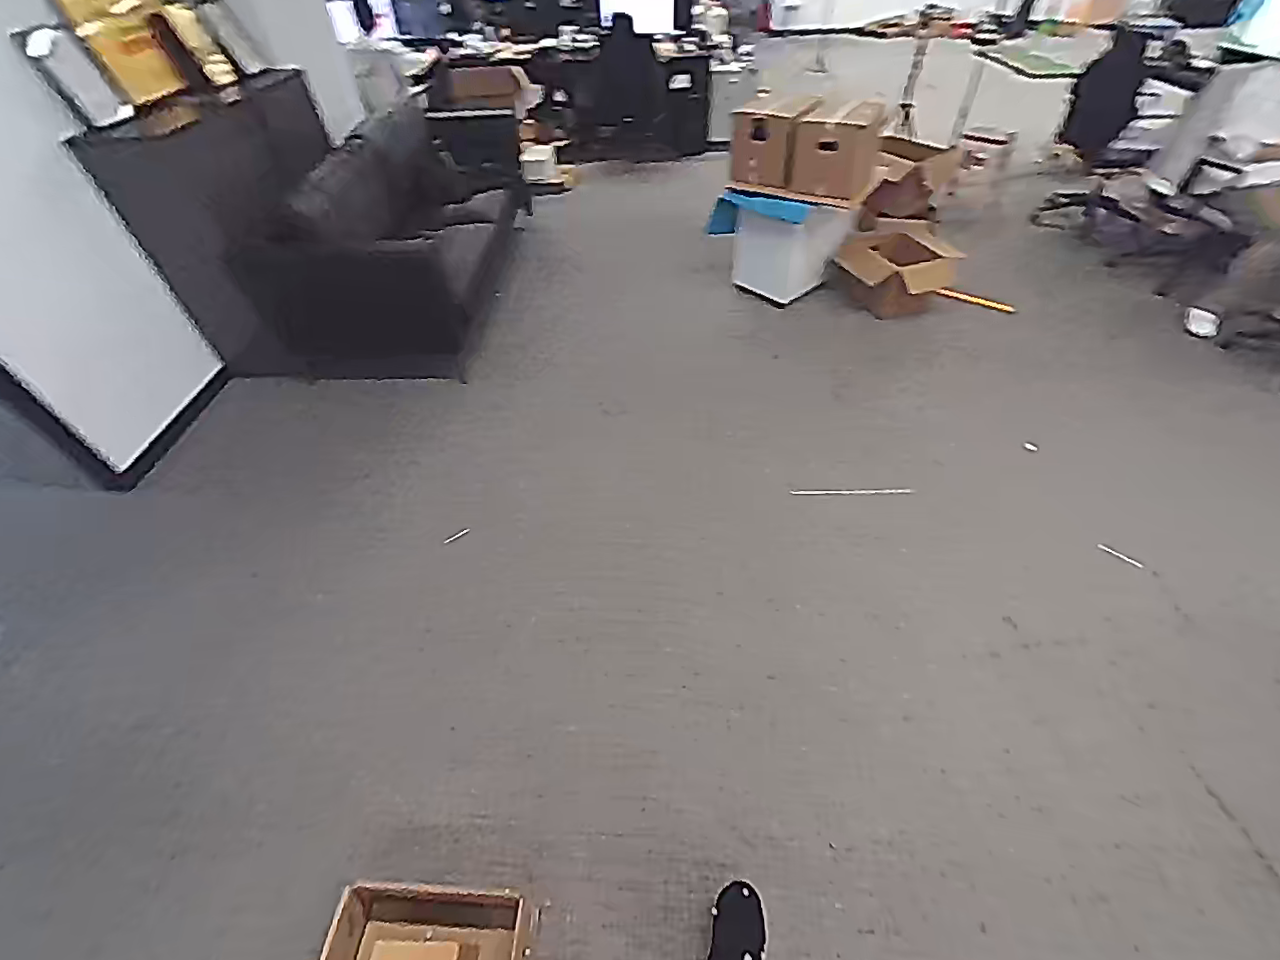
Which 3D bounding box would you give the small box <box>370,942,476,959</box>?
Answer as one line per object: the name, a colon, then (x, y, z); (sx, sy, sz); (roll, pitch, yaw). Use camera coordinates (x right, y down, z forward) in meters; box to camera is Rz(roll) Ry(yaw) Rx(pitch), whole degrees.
small box: (-0.451, 1.051, 1.094); (0.179, 0.176, 0.168); (0, 46, 1)
